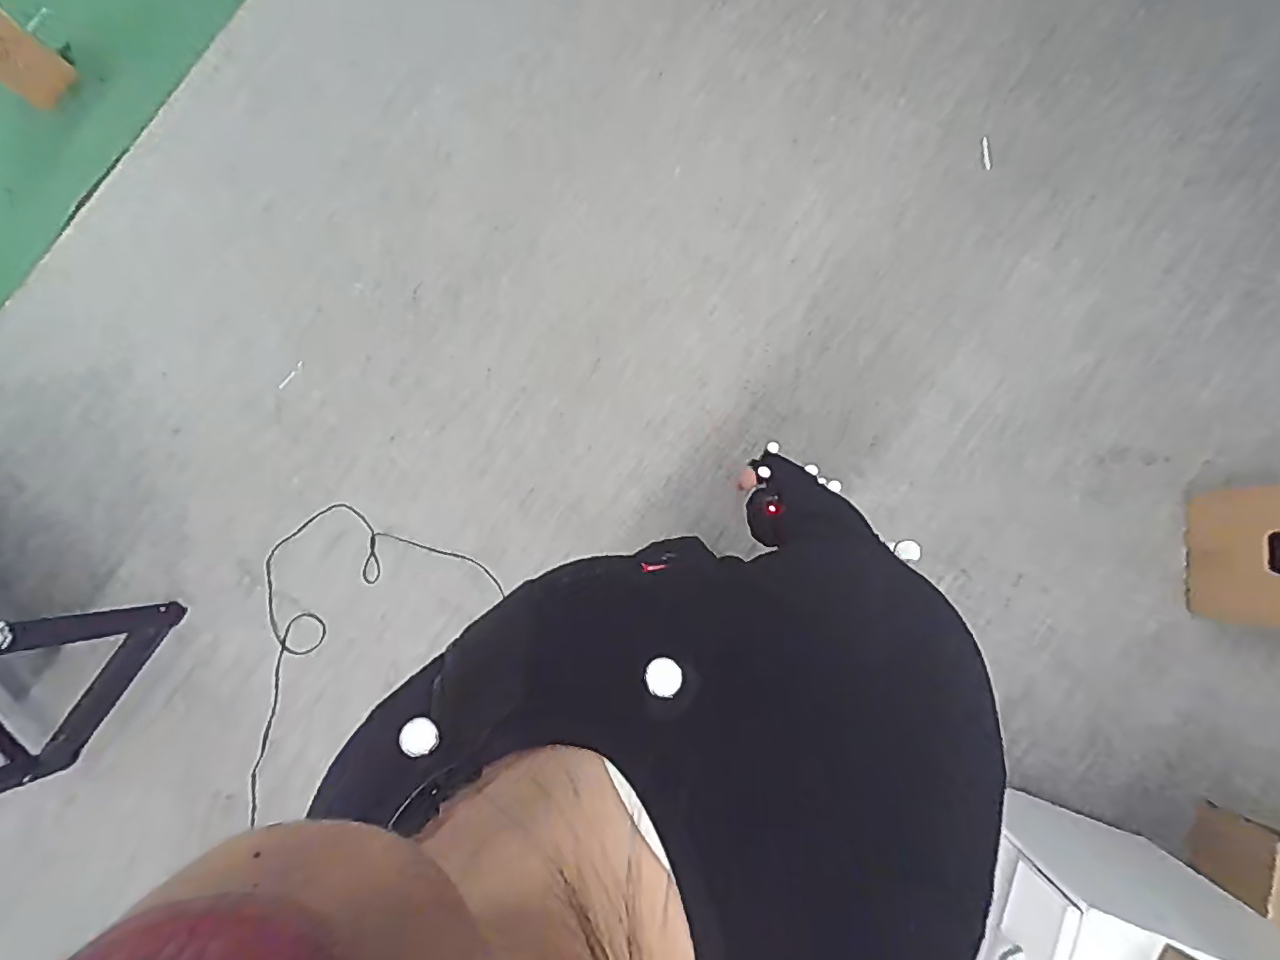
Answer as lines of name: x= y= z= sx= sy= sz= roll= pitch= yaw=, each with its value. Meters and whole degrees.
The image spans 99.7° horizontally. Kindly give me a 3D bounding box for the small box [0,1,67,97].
small box: x=-2.051 y=-1.420 z=1.767 sx=0.168 sy=0.176 sz=0.179 roll=41 pitch=90 yaw=7
